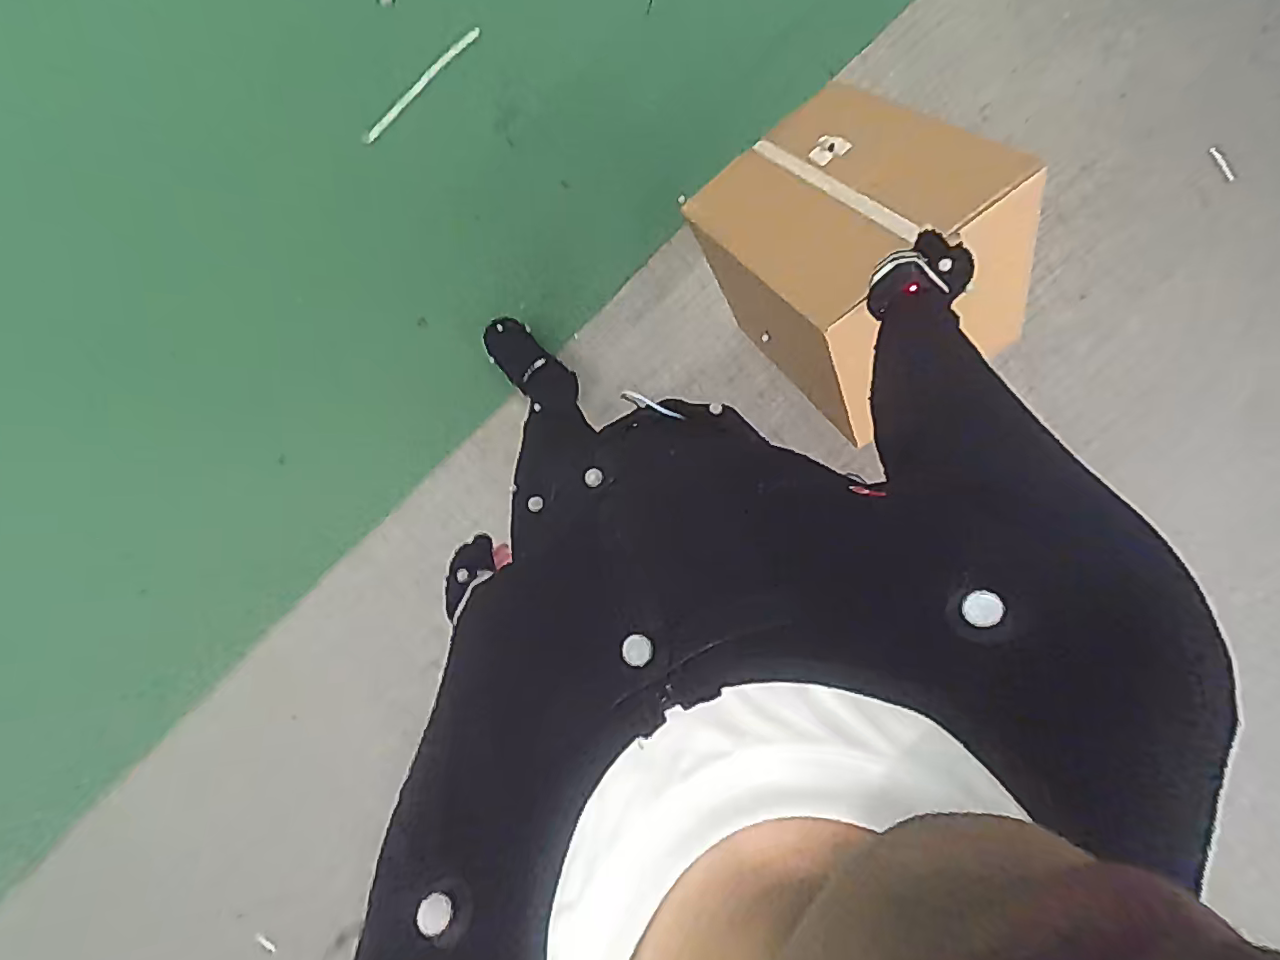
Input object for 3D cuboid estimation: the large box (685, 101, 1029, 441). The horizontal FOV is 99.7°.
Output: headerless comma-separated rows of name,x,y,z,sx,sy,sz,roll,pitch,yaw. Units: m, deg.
large box,0.347,-0.343,0.908,0.320,0.408,0.320,-36,140,7
